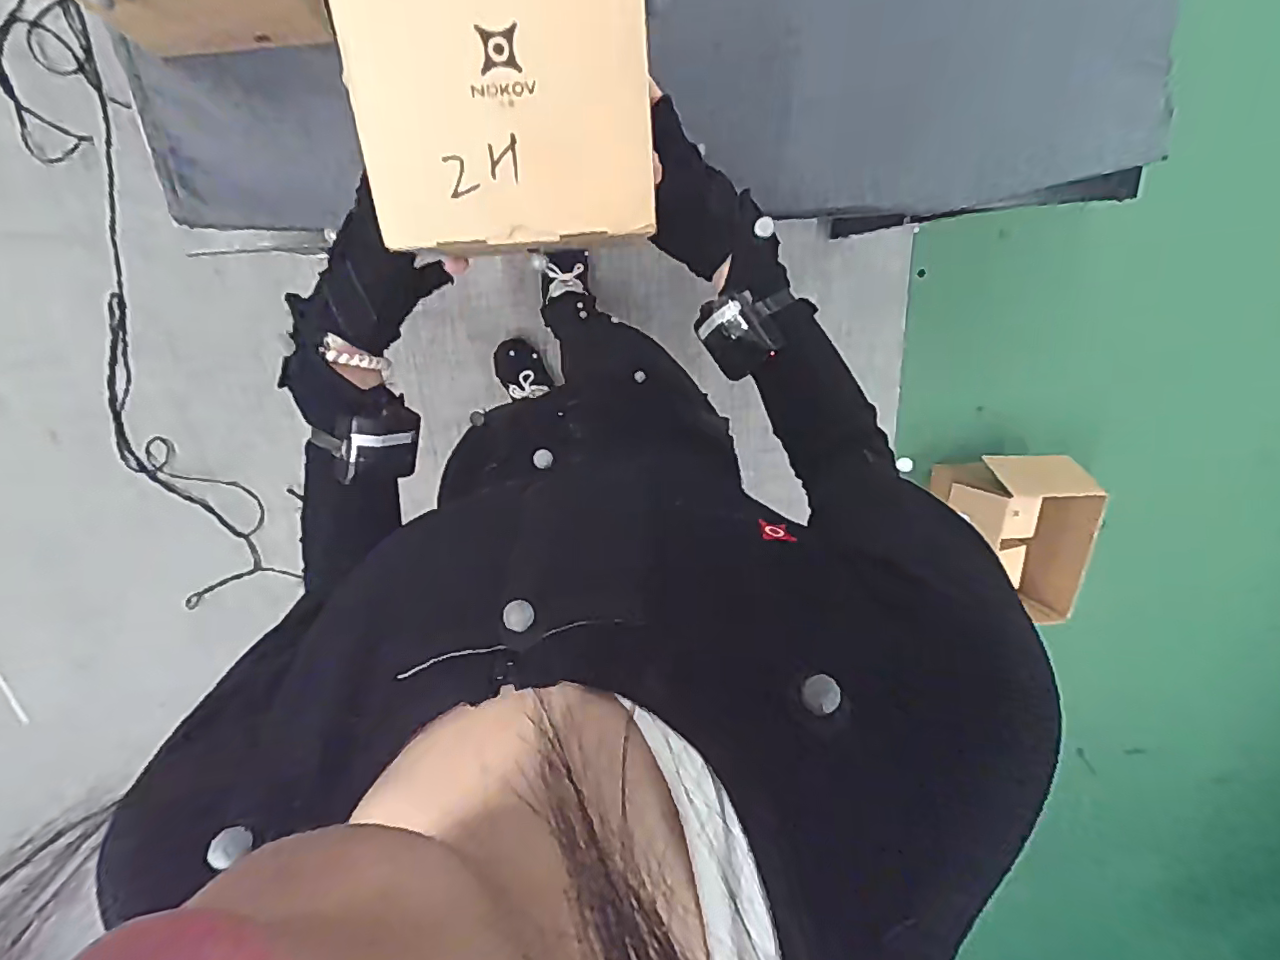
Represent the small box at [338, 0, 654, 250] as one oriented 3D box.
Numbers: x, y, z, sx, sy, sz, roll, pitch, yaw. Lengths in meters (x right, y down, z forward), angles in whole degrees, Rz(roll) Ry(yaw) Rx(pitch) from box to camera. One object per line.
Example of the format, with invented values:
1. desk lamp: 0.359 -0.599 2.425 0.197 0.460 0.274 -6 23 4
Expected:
1. small box: -0.084 -0.259 0.370 0.168 0.176 0.179 -5 111 -4
